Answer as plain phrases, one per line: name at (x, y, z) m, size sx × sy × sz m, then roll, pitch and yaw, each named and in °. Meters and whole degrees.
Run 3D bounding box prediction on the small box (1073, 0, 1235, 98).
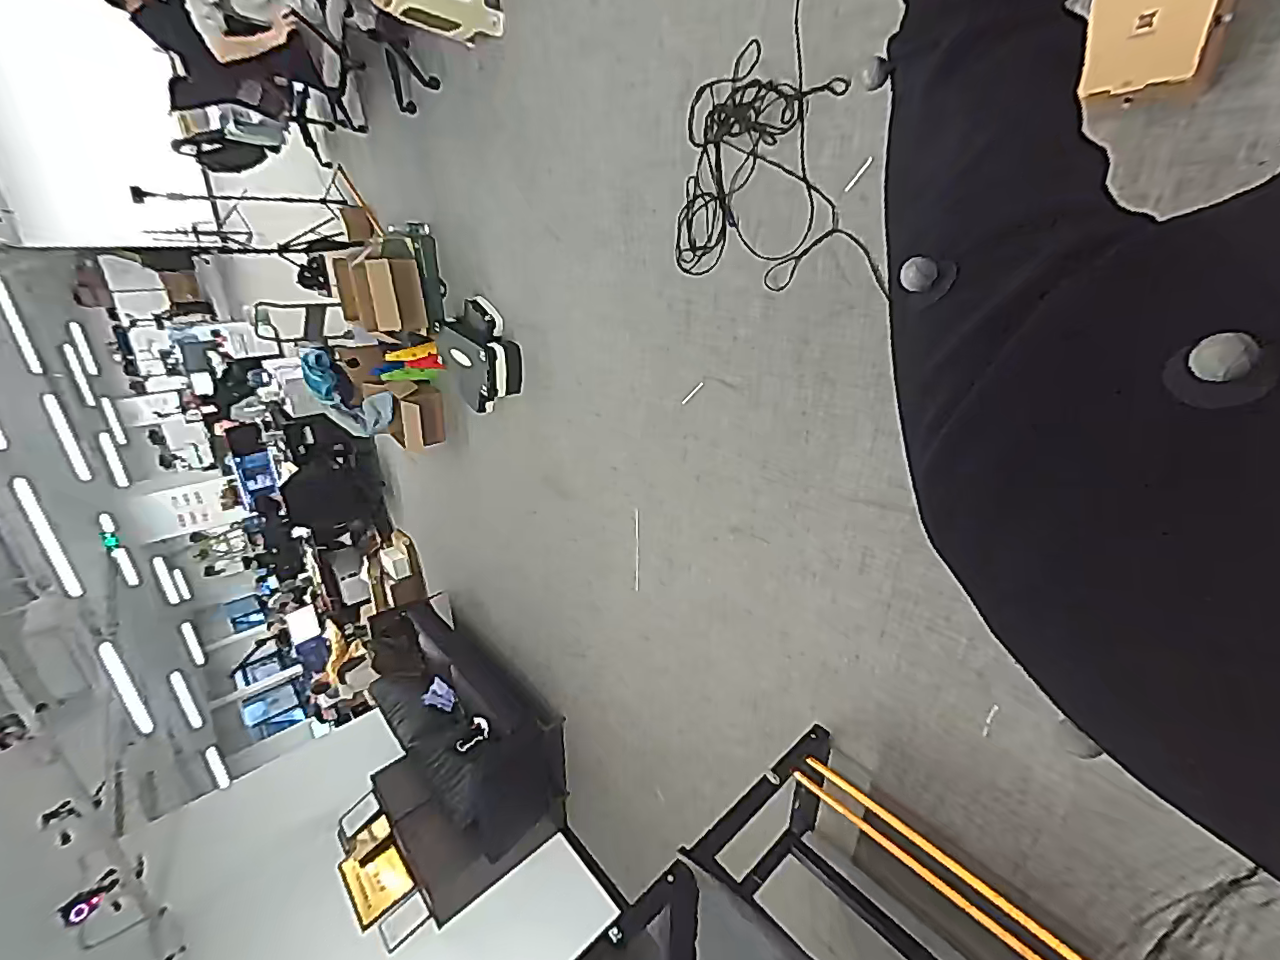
small box at (0.878, -0.779, 0.919) m, size 0.168 × 0.176 × 0.179 m, roll 23°, pitch 124°, yaw 44°
